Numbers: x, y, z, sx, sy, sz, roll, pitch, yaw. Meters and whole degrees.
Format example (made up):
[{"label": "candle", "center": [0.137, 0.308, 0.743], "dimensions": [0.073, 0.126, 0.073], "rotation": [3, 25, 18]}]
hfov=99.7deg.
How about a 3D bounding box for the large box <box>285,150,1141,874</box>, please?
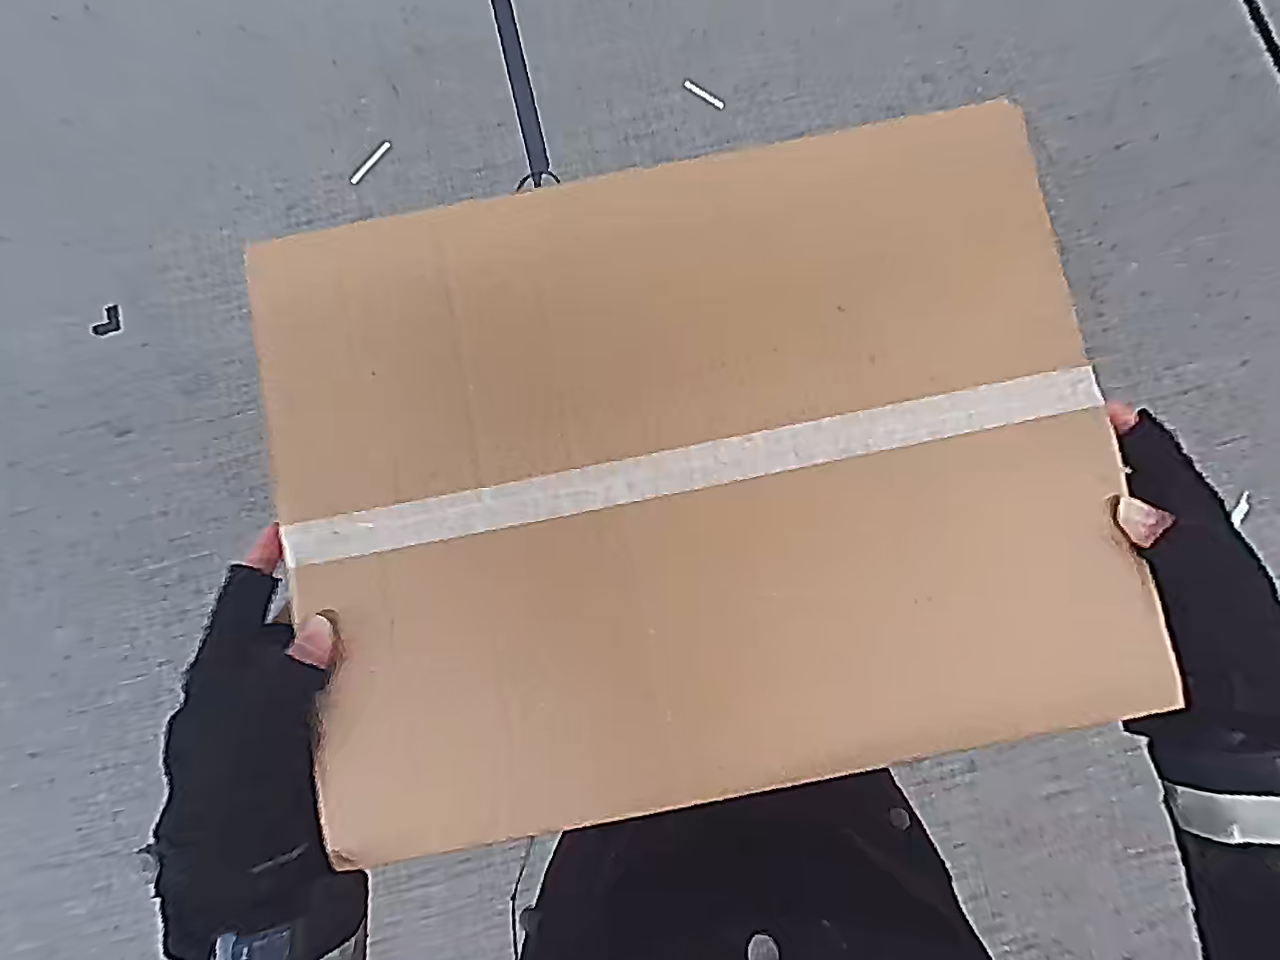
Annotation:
[{"label": "large box", "center": [0.033, 0.019, 0.430], "dimensions": [0.408, 0.320, 0.320], "rotation": [-11, 84, 0]}]
